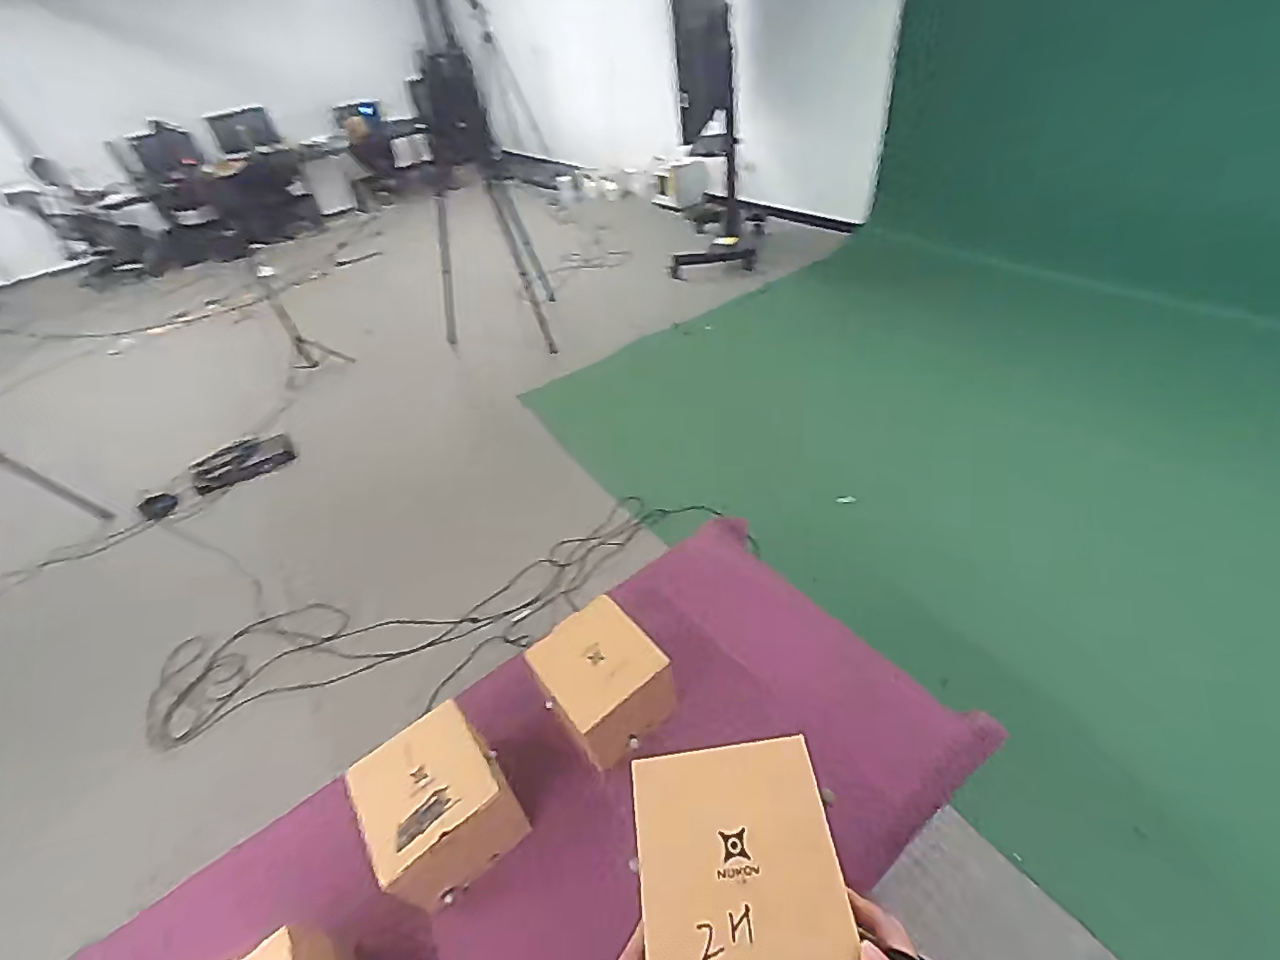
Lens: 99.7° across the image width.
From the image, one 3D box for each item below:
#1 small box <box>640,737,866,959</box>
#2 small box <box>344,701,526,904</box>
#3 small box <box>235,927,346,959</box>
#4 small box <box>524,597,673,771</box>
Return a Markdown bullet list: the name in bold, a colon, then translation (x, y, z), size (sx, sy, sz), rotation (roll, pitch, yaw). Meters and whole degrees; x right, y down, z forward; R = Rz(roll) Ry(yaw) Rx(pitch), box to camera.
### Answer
- **small box**: translation (0.096, 0.367, 0.509), size (0.168, 0.176, 0.179), rotation (-10, 47, 6)
- **small box**: translation (-0.289, 0.471, 0.786), size (0.168, 0.176, 0.179), rotation (-32, 45, -23)
- **small box**: translation (-0.420, 0.658, 0.597), size (0.168, 0.176, 0.179), rotation (-31, 45, -21)
- **small box**: translation (-0.063, 0.336, 0.894), size (0.168, 0.176, 0.179), rotation (-33, 47, -23)
